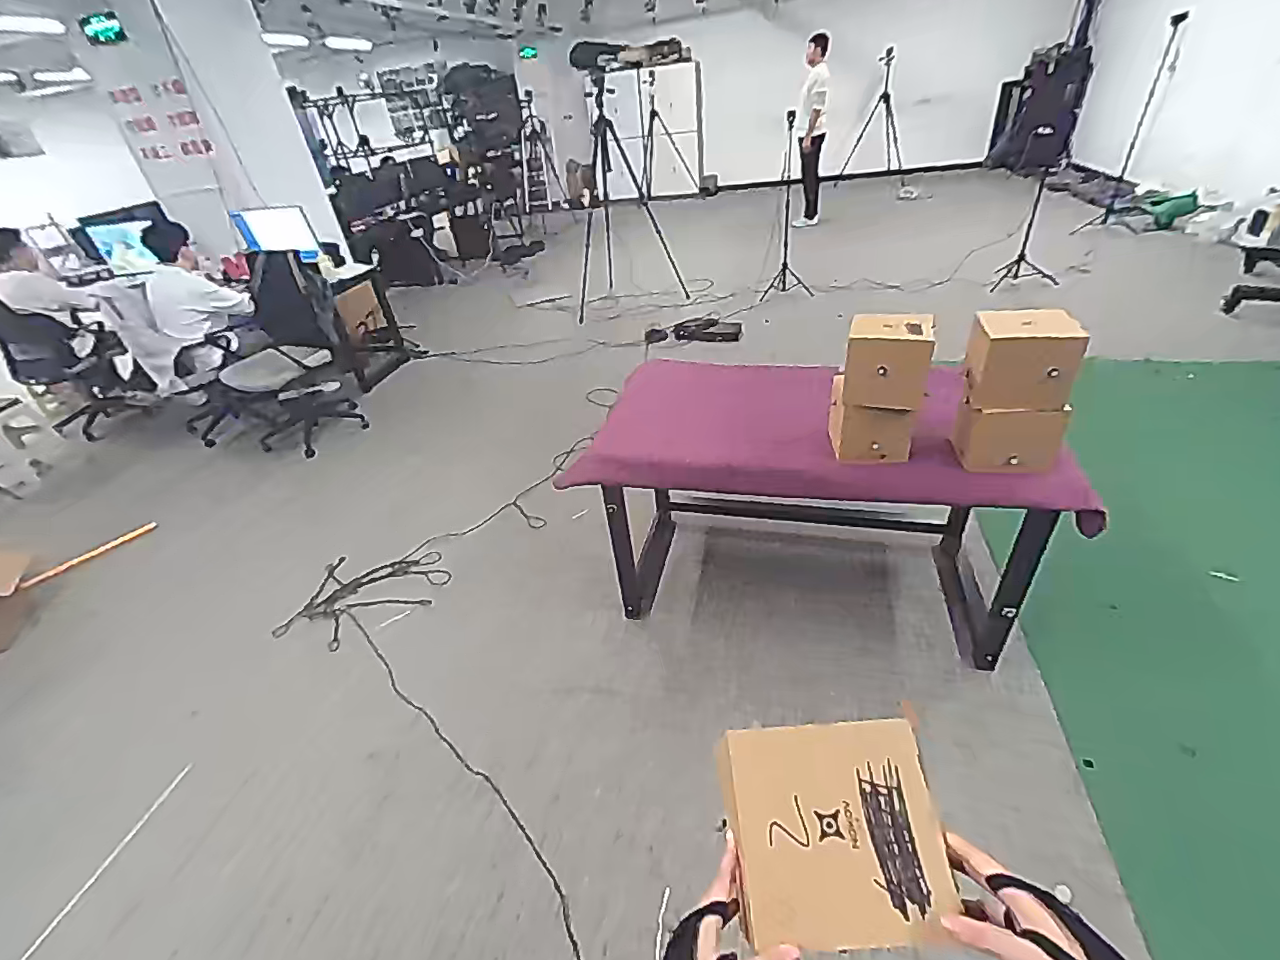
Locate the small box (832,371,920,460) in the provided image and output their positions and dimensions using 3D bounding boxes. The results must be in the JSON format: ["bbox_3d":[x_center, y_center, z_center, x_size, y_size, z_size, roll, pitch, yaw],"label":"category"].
[{"bbox_3d":[0.589,-0.167,1.375,0.168,0.176,0.179,-1,35,11],"label":"small box"}]

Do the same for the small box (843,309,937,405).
[{"bbox_3d":[0.579,-0.286,1.258,0.179,0.176,0.168,8,37,23],"label":"small box"}]

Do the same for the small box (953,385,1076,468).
[{"bbox_3d":[0.869,-0.138,1.274,0.179,0.176,0.168,1,36,13],"label":"small box"}]

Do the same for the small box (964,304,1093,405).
[{"bbox_3d":[0.839,-0.275,1.189,0.179,0.176,0.168,4,37,18],"label":"small box"}]
